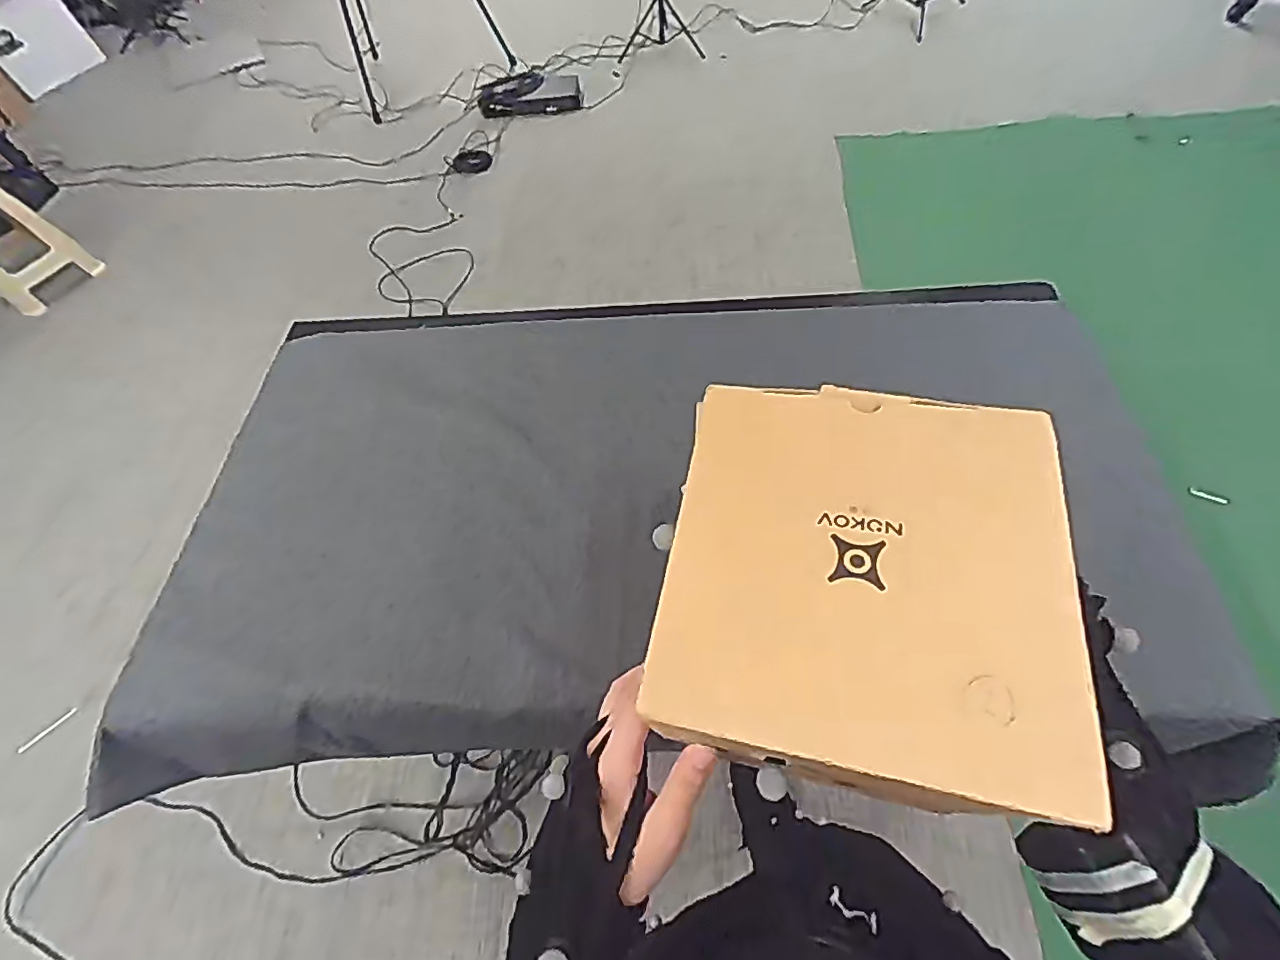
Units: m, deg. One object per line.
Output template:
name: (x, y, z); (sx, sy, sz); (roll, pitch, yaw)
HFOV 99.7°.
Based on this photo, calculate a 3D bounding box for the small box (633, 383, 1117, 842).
small box: (0.107, 0.071, 0.298); (0.168, 0.176, 0.179); (7, 61, 15)
